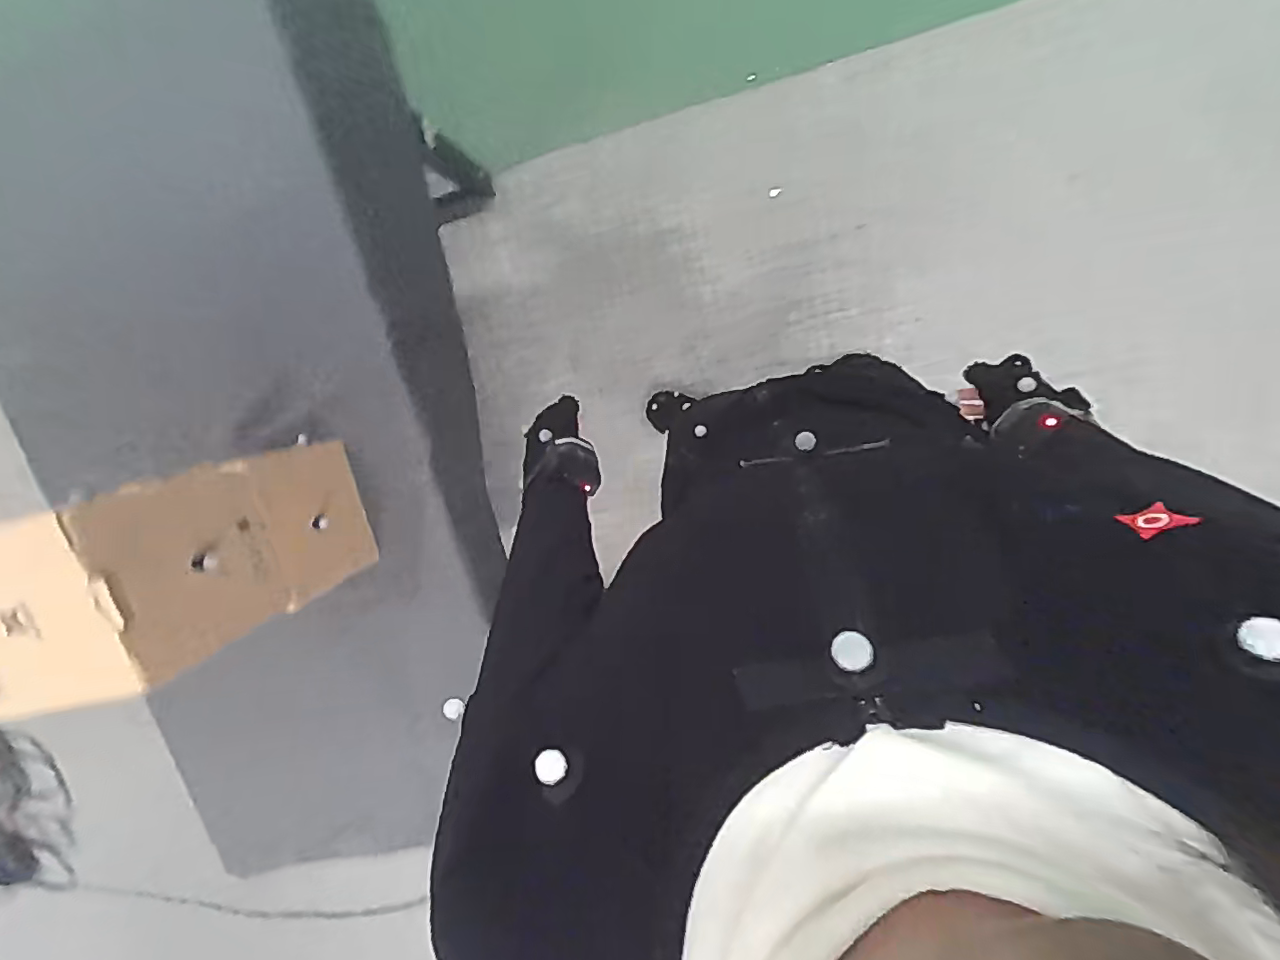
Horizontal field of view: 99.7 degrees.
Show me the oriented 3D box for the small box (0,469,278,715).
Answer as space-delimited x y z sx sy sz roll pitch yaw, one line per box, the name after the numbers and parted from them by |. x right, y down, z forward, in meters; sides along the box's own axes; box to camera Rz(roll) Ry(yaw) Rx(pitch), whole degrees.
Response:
-0.501 0.097 0.530 0.179 0.176 0.168 -12 102 9 | small box

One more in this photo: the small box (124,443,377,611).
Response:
-0.474 0.057 0.686 0.168 0.176 0.179 -11 103 10 | small box
